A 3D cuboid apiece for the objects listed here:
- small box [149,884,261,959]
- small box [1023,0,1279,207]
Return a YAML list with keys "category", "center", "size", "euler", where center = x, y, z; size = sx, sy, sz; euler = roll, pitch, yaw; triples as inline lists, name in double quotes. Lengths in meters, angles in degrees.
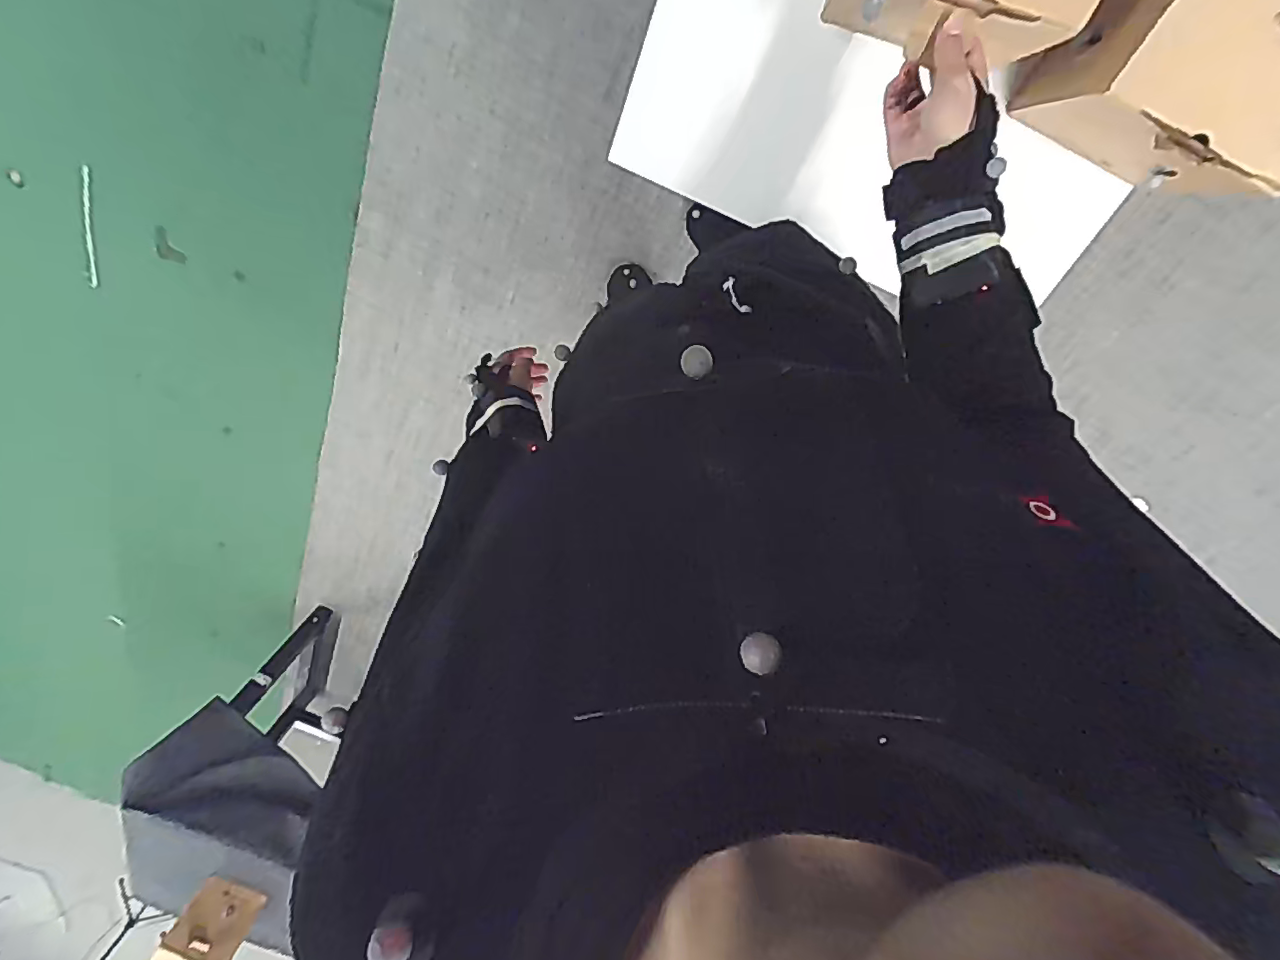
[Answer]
- category: "small box"
  center: [-1.134, 1.199, 1.404]
  size: [0.168, 0.176, 0.179]
  euler: [36, 118, -11]
- category: "small box"
  center: [0.448, -0.341, 0.423]
  size: [0.168, 0.176, 0.179]
  euler: [24, 119, -5]
